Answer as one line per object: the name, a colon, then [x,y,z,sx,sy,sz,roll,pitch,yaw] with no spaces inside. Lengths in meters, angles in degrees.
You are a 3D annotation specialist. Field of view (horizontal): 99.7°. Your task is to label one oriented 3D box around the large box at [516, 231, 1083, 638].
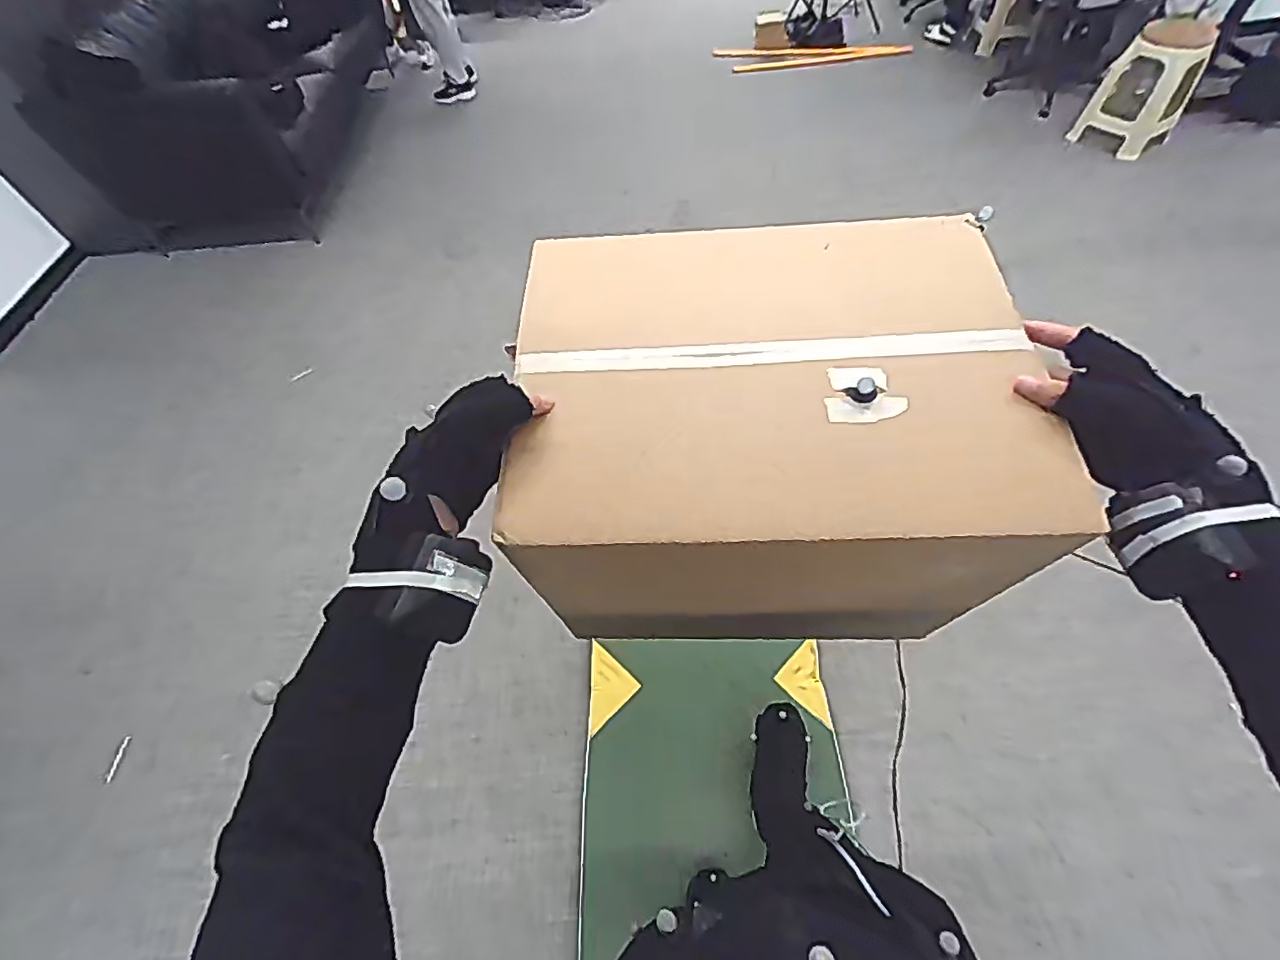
large box: [0.113,-0.024,0.578,0.408,0.320,0.320,-2,62,3]
